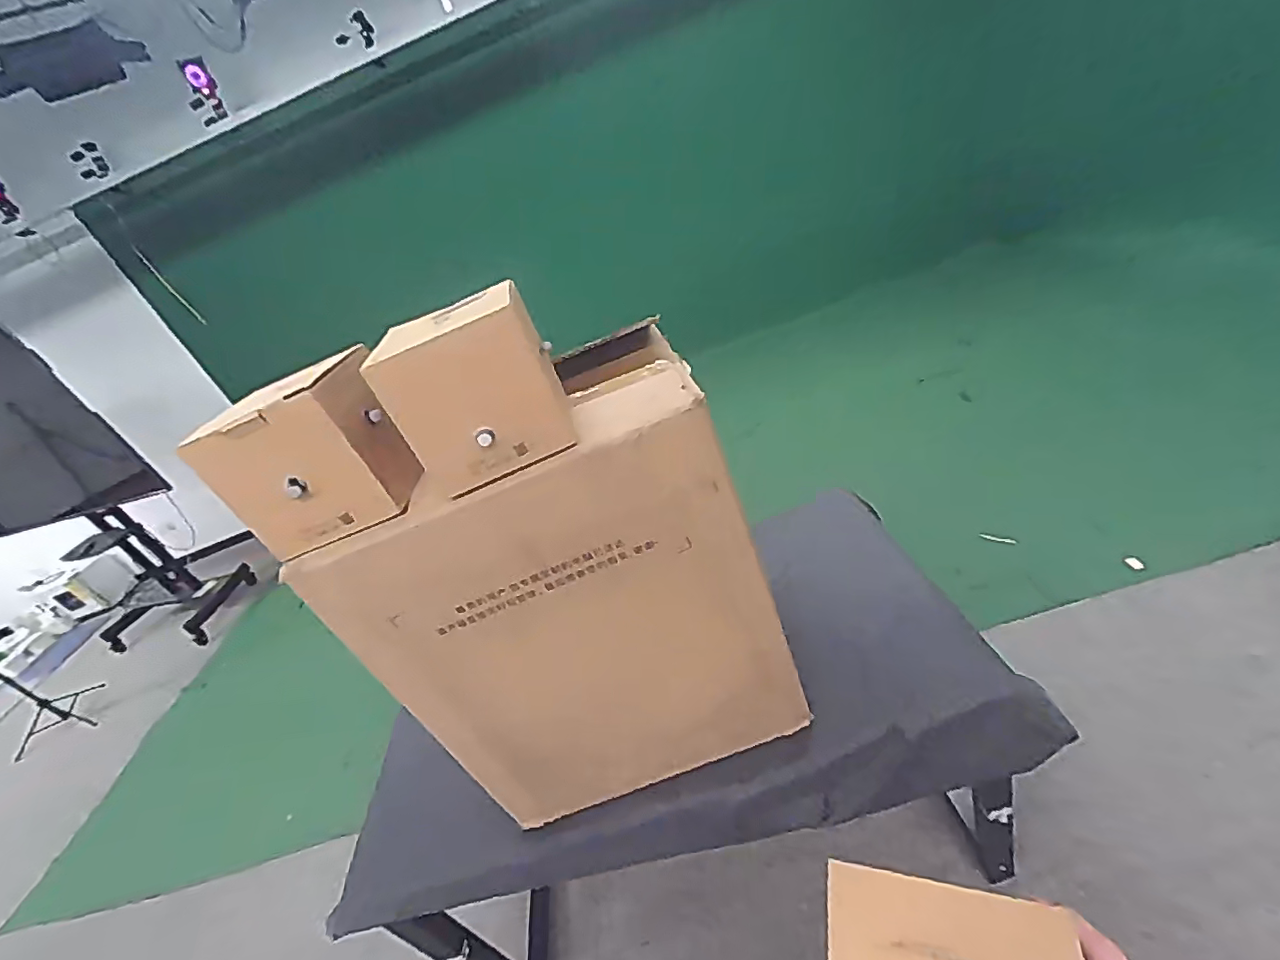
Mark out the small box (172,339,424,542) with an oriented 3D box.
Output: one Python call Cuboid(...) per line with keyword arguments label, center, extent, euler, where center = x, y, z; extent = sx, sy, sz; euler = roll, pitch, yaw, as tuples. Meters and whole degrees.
Cuboid(label="small box", center=(-0.393, -0.044, 0.665), extent=(0.168, 0.176, 0.179), euler=(-21, 31, 4))
